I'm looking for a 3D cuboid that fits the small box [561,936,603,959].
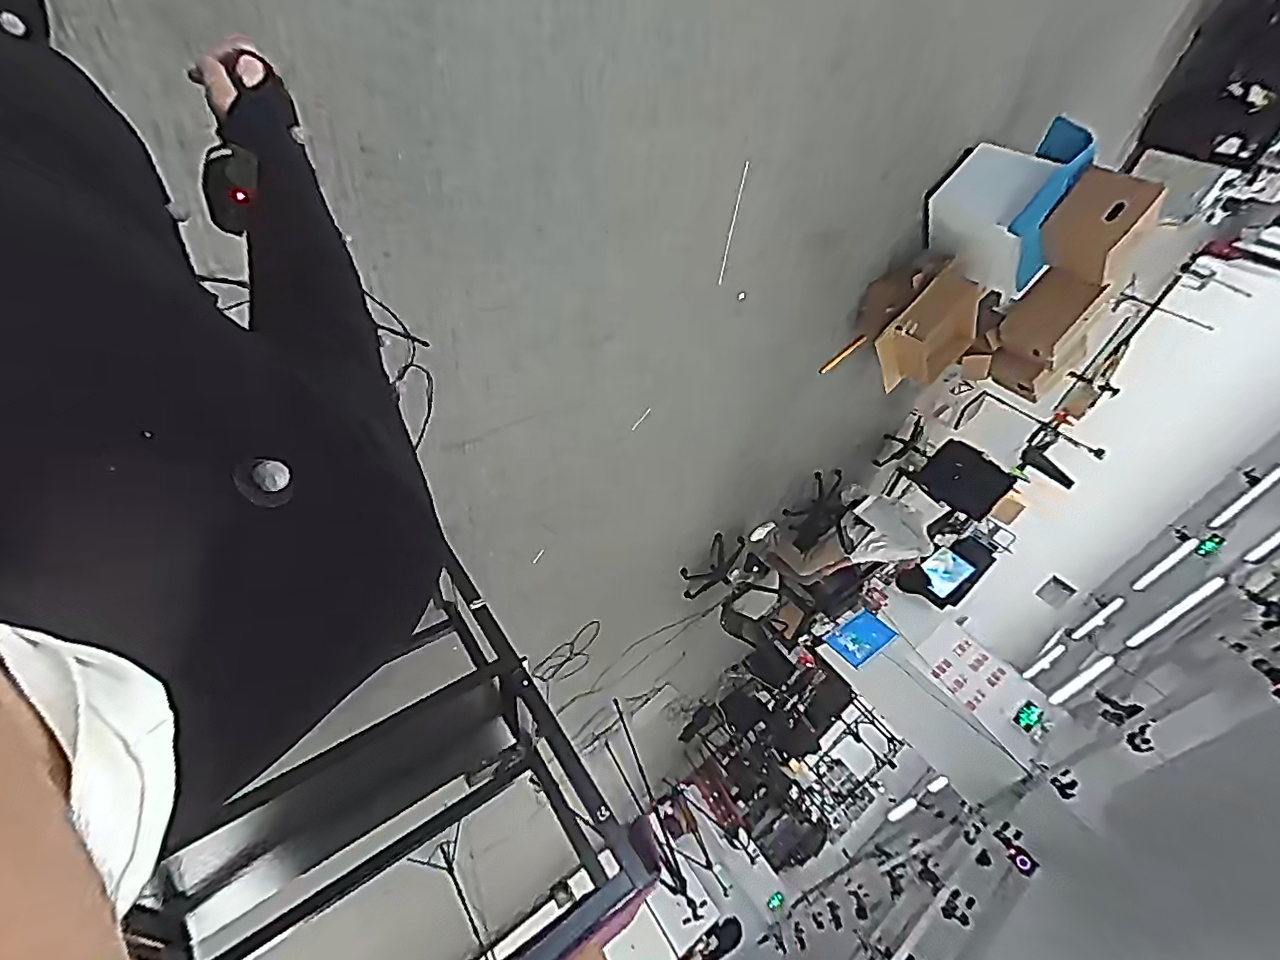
[{"bbox_3d":[-0.158,1.309,1.368,0.179,0.176,0.168,-23,142,-28],"label":"small box"}]
